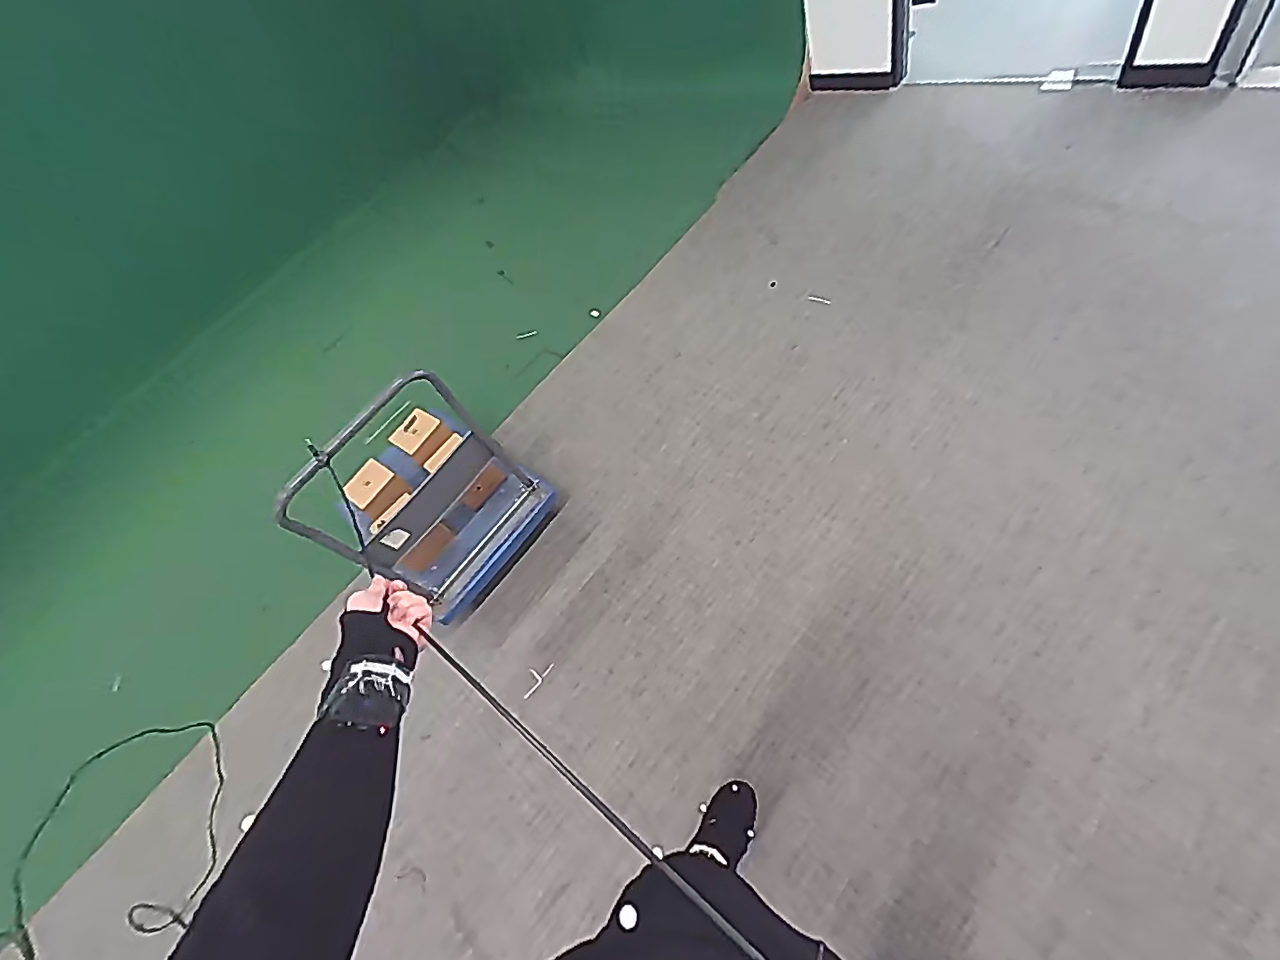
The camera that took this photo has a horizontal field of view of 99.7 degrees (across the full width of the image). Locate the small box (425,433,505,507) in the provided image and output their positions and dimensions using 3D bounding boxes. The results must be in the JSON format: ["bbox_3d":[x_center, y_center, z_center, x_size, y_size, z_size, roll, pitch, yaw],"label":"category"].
[{"bbox_3d":[-0.621,-0.032,1.926,0.179,0.176,0.168,32,75,34],"label":"small box"}]

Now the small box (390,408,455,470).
[{"bbox_3d":[-0.812,-0.144,2.080,0.179,0.176,0.168,26,72,33],"label":"small box"}]

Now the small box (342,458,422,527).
[{"bbox_3d":[-0.955,0.052,2.013,0.179,0.176,0.168,26,71,34],"label":"small box"}]
